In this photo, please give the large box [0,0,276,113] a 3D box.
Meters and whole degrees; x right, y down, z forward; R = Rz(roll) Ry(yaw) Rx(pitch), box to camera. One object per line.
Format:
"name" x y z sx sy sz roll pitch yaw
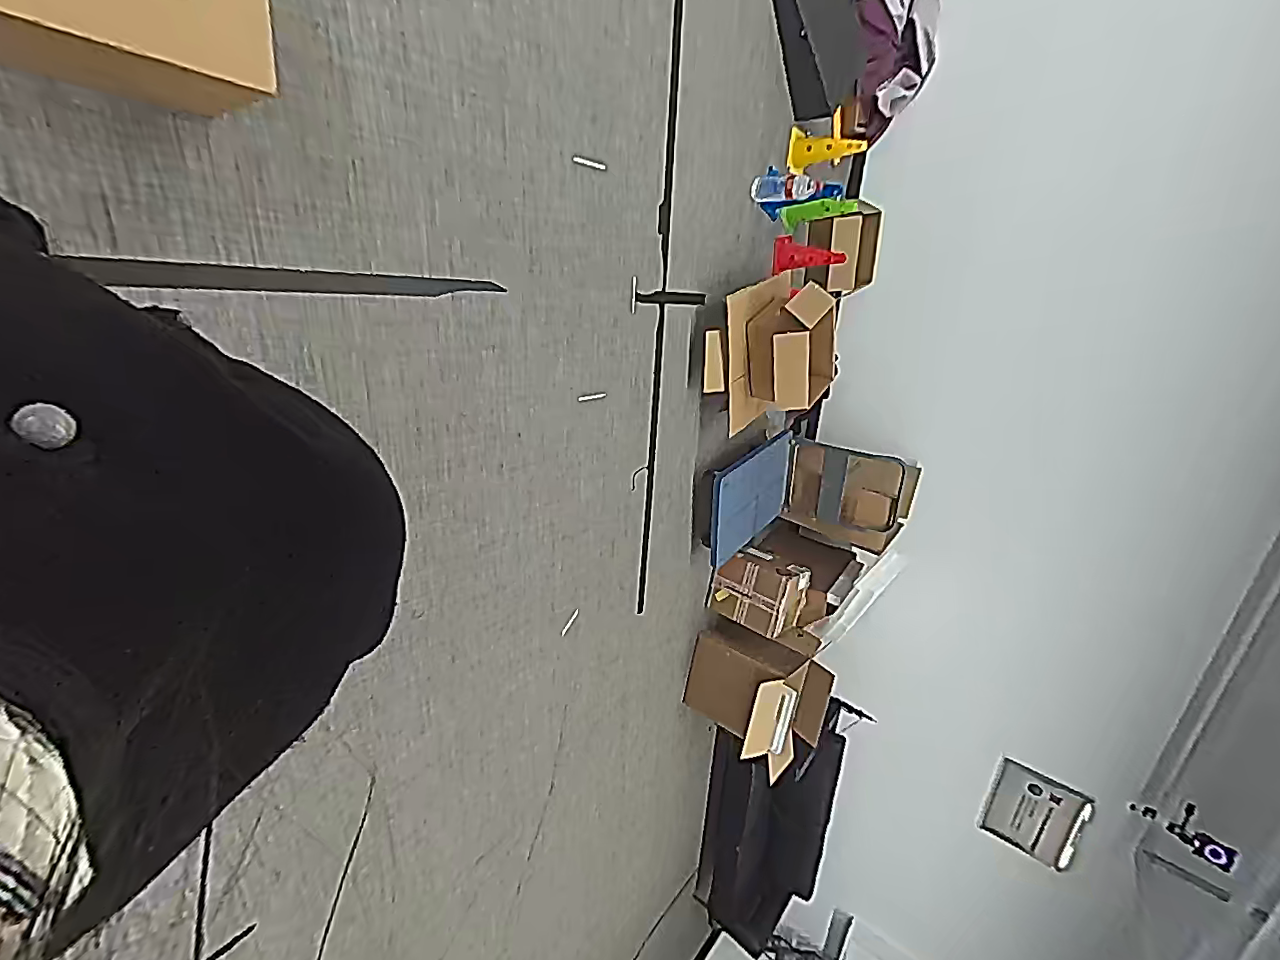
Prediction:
"large box" -0.838 -0.791 0.792 0.408 0.320 0.320 -18 120 -50
